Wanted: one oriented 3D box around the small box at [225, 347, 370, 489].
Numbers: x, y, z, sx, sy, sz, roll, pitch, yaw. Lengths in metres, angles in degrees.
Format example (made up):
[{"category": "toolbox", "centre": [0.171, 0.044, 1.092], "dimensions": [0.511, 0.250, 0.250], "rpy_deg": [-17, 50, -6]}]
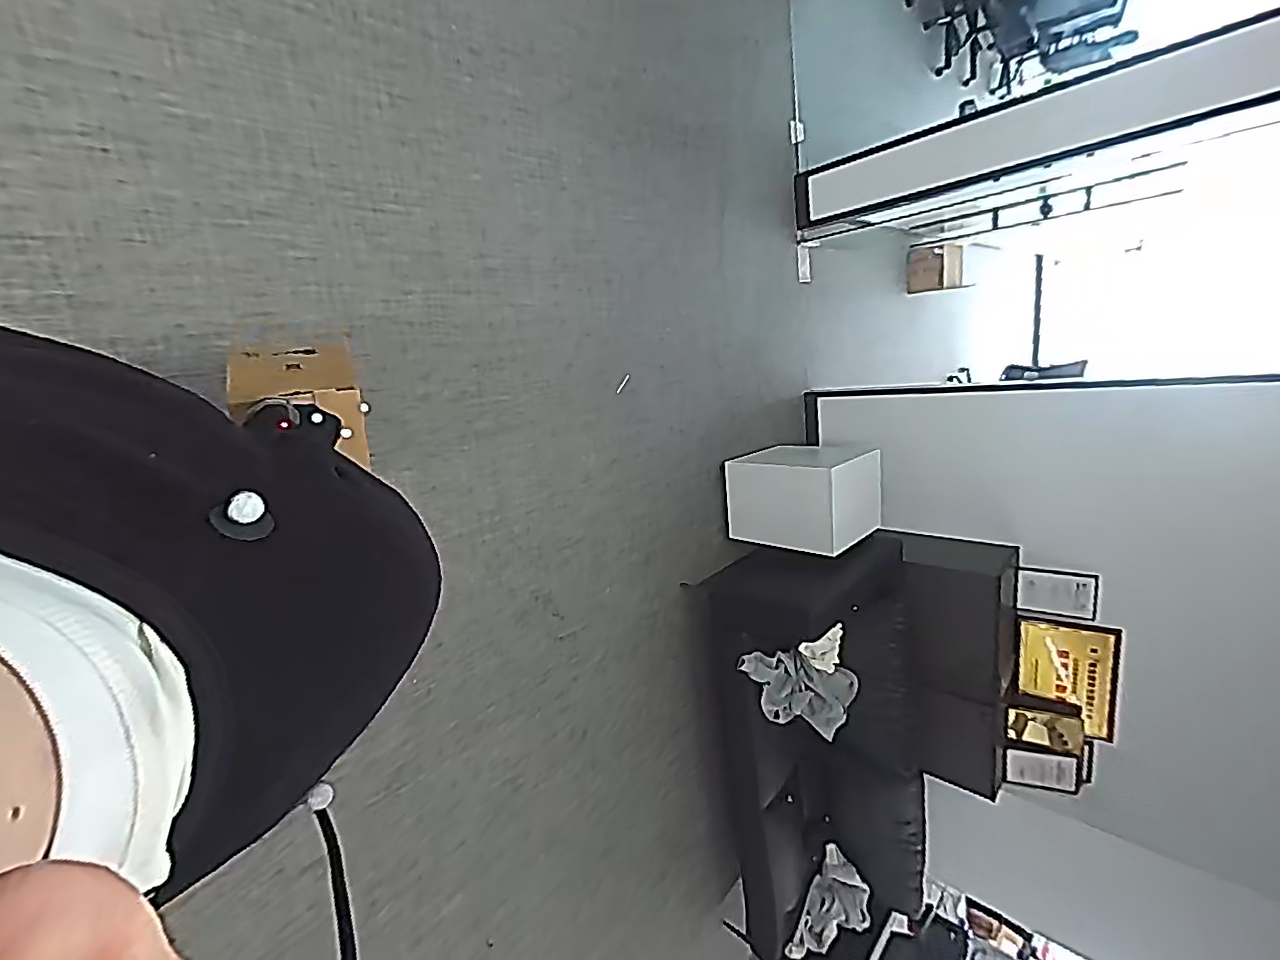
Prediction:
[{"category": "small box", "centre": [-0.550, -0.099, 0.878], "dimensions": [0.168, 0.179, 0.176], "rpy_deg": [-13, 129, -30]}]
